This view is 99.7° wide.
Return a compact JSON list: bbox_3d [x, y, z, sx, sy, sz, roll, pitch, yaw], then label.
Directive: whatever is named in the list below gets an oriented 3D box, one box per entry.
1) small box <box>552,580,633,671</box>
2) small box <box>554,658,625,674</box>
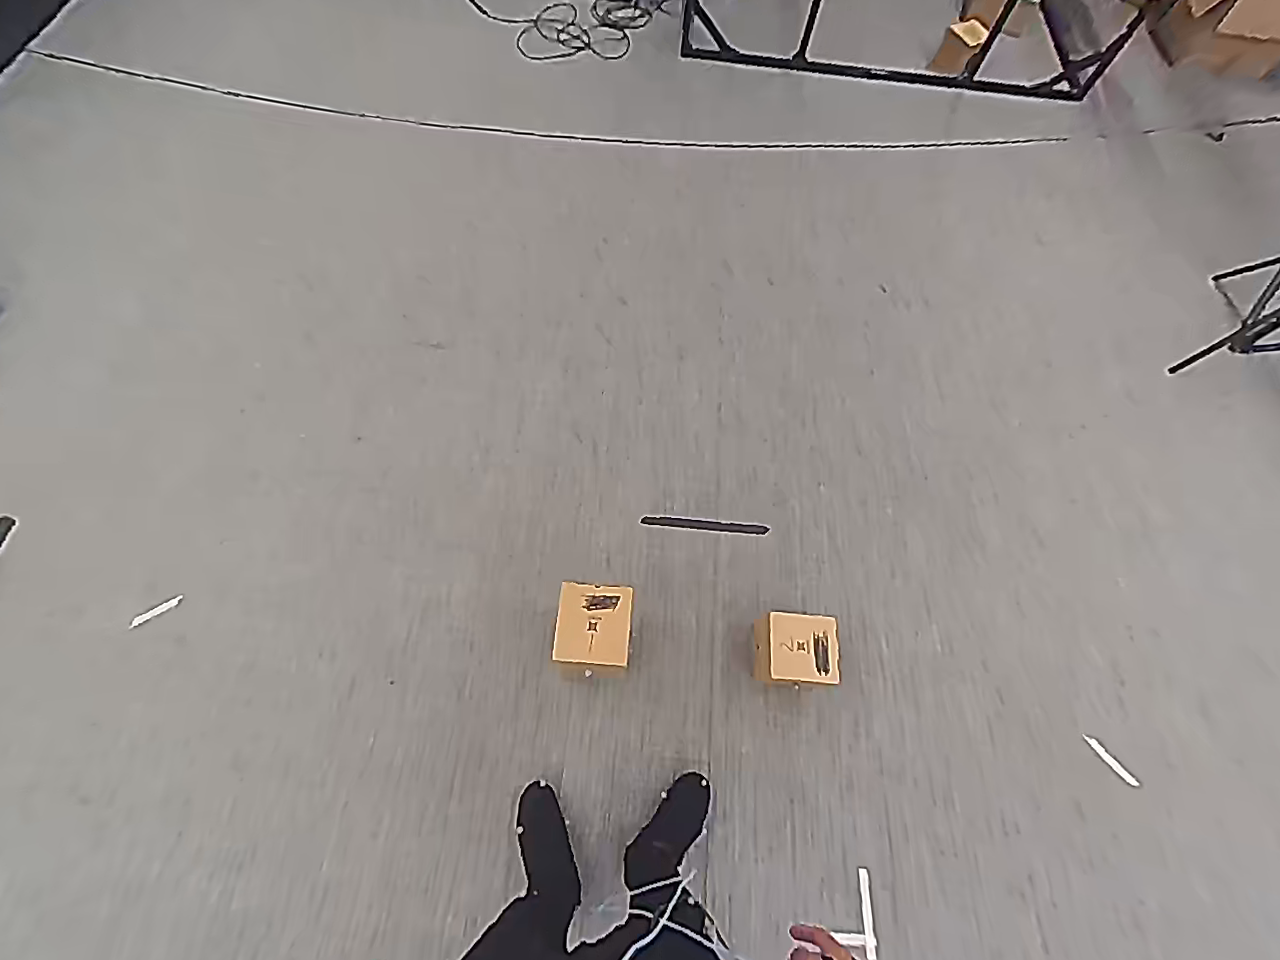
[{"bbox_3d":[-0.108,0.349,1.280,0.168,0.176,0.179,5,67,0],"label":"small box"},{"bbox_3d":[-0.122,0.418,1.428,0.179,0.176,0.168,5,66,0],"label":"small box"}]
